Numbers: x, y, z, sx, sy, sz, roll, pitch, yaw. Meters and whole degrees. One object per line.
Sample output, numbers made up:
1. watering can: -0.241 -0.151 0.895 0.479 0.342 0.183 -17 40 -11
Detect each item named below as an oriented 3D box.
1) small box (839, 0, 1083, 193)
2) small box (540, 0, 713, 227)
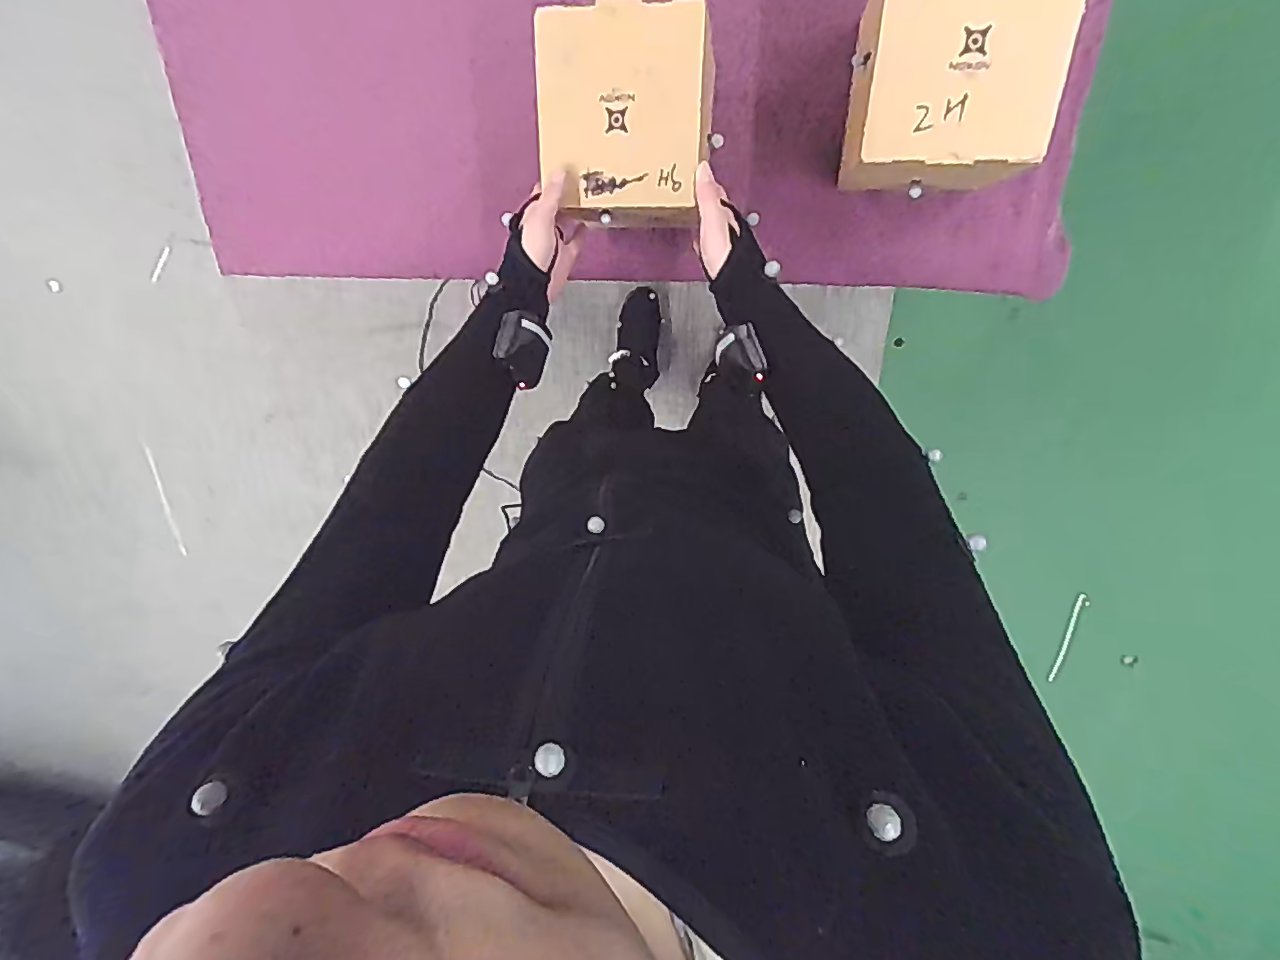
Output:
1. small box: 0.314 -0.412 0.564 0.168 0.176 0.179 7 112 10
2. small box: -0.007 -0.392 0.609 0.168 0.176 0.179 5 110 9
